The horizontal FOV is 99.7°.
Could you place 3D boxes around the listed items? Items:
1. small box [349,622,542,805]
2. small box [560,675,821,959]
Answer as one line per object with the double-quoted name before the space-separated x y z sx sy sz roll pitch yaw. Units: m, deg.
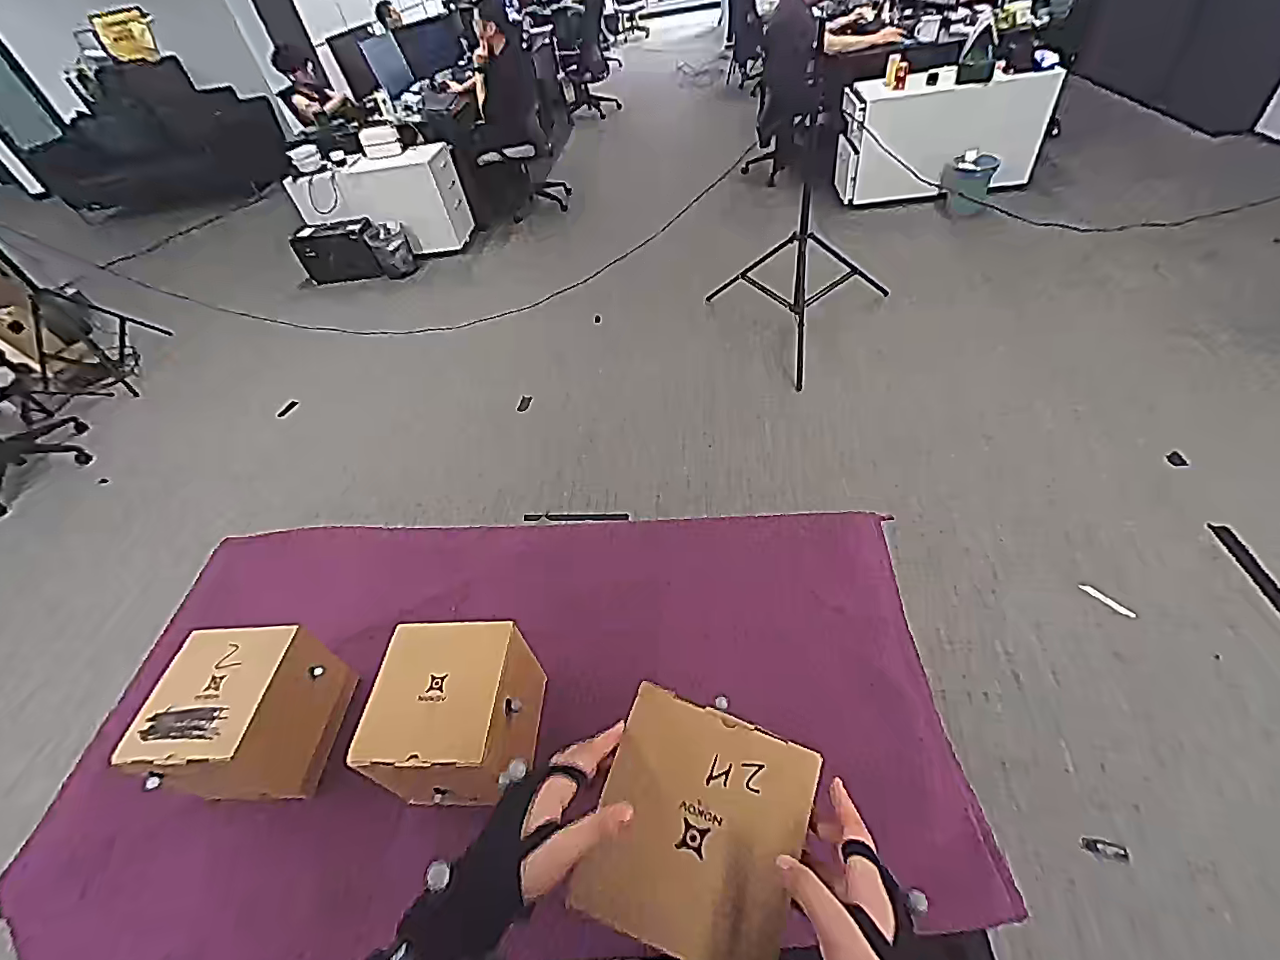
"small box" -0.236 0.308 0.714 0.168 0.176 0.179 -4 47 7
"small box" 0.047 0.305 0.513 0.168 0.176 0.179 22 71 9
